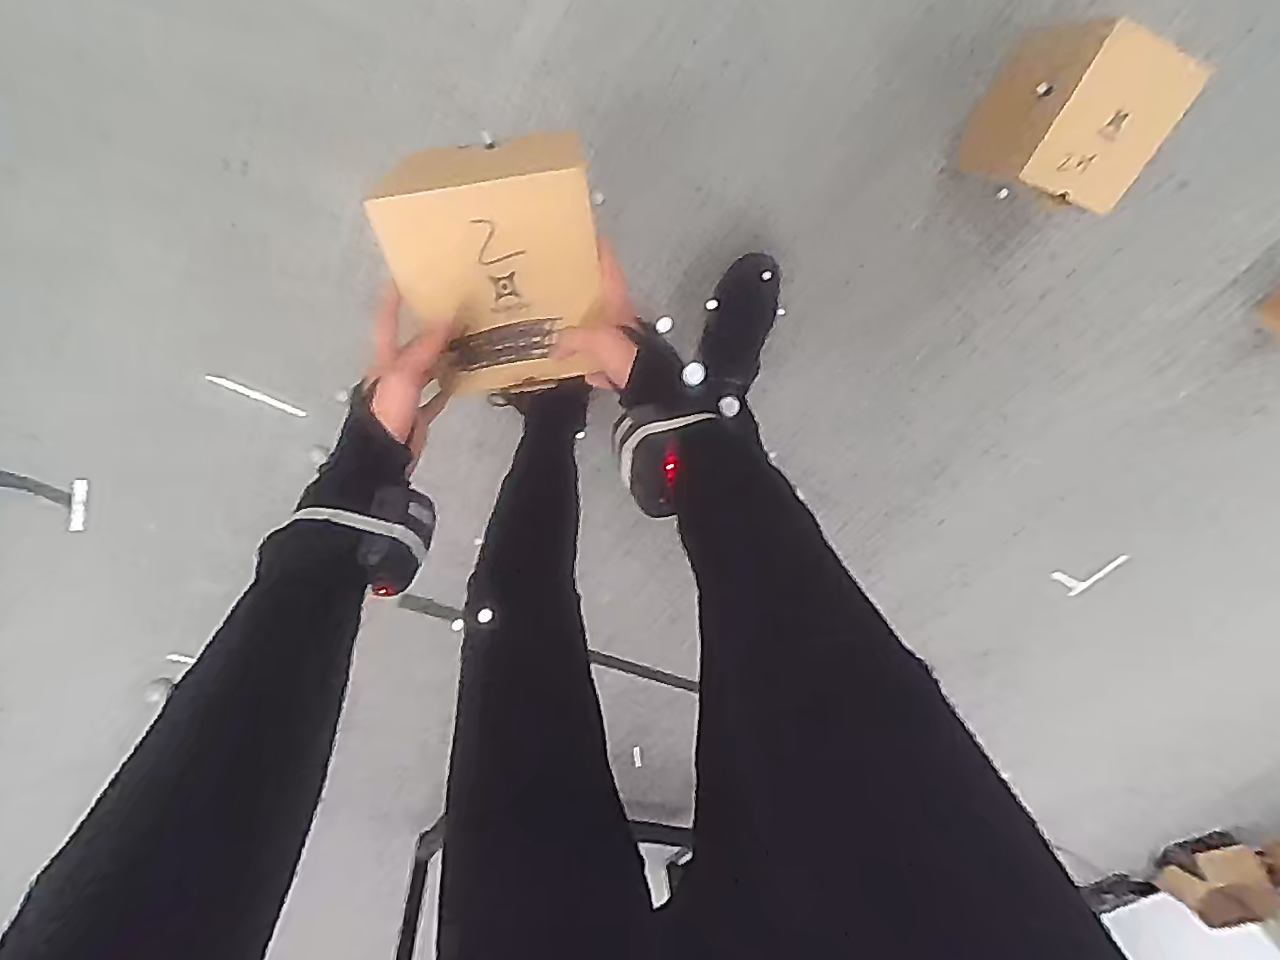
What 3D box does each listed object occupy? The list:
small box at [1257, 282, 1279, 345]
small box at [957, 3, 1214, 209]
[{"bbox_3d":[1.309,-0.318,0.988,0.168,0.176,0.179,24,120,-23],"label":"small box"},{"bbox_3d":[0.587,-0.506,0.741,0.168,0.176,0.179,12,125,-17],"label":"small box"}]
